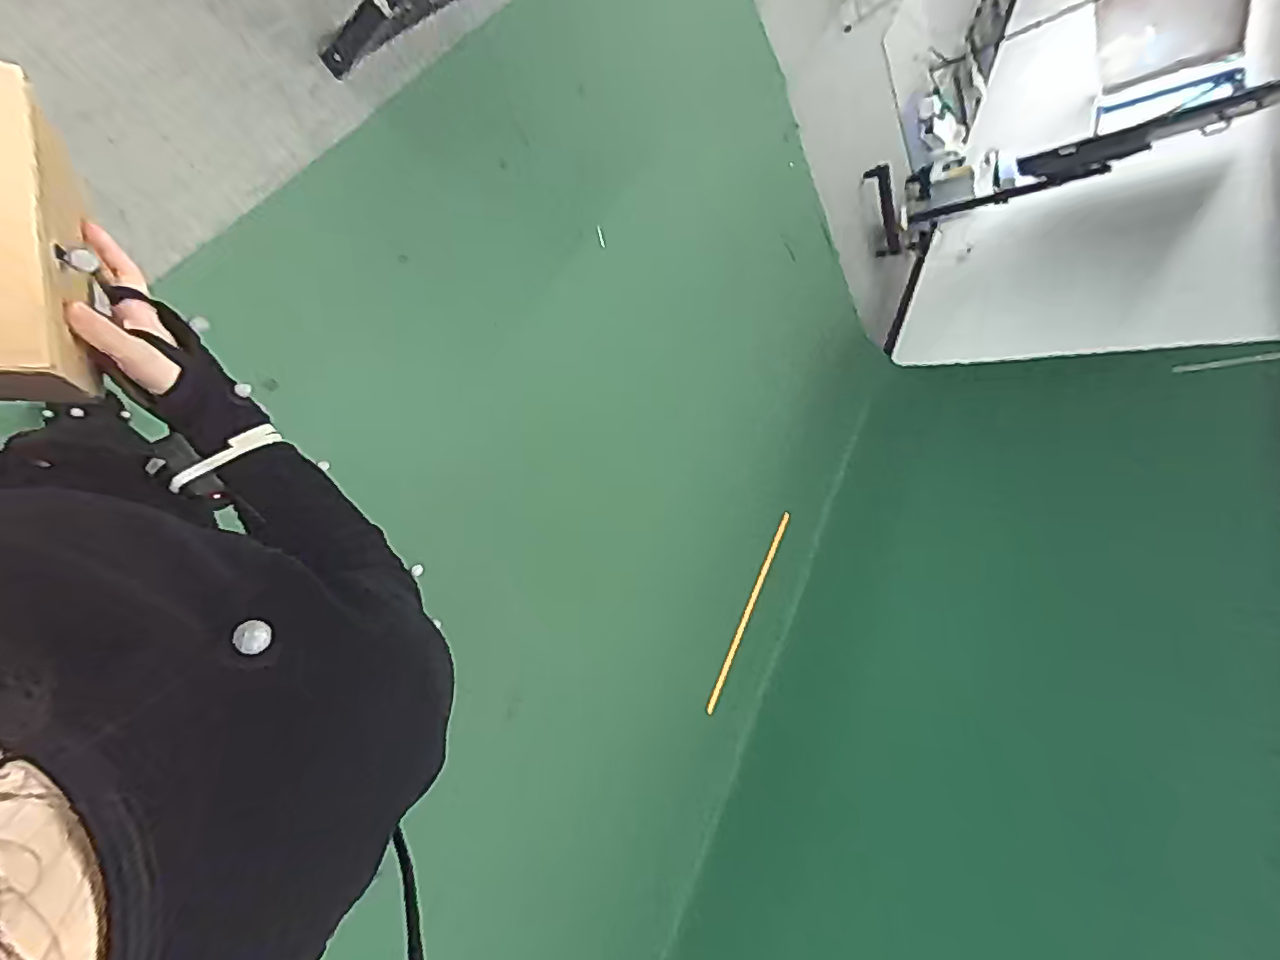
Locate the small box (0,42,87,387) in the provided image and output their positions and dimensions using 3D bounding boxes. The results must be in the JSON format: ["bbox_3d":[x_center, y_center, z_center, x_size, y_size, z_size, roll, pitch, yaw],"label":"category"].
[{"bbox_3d":[-0.457,-0.154,0.319,0.168,0.176,0.179,-6,96,-41],"label":"small box"}]
